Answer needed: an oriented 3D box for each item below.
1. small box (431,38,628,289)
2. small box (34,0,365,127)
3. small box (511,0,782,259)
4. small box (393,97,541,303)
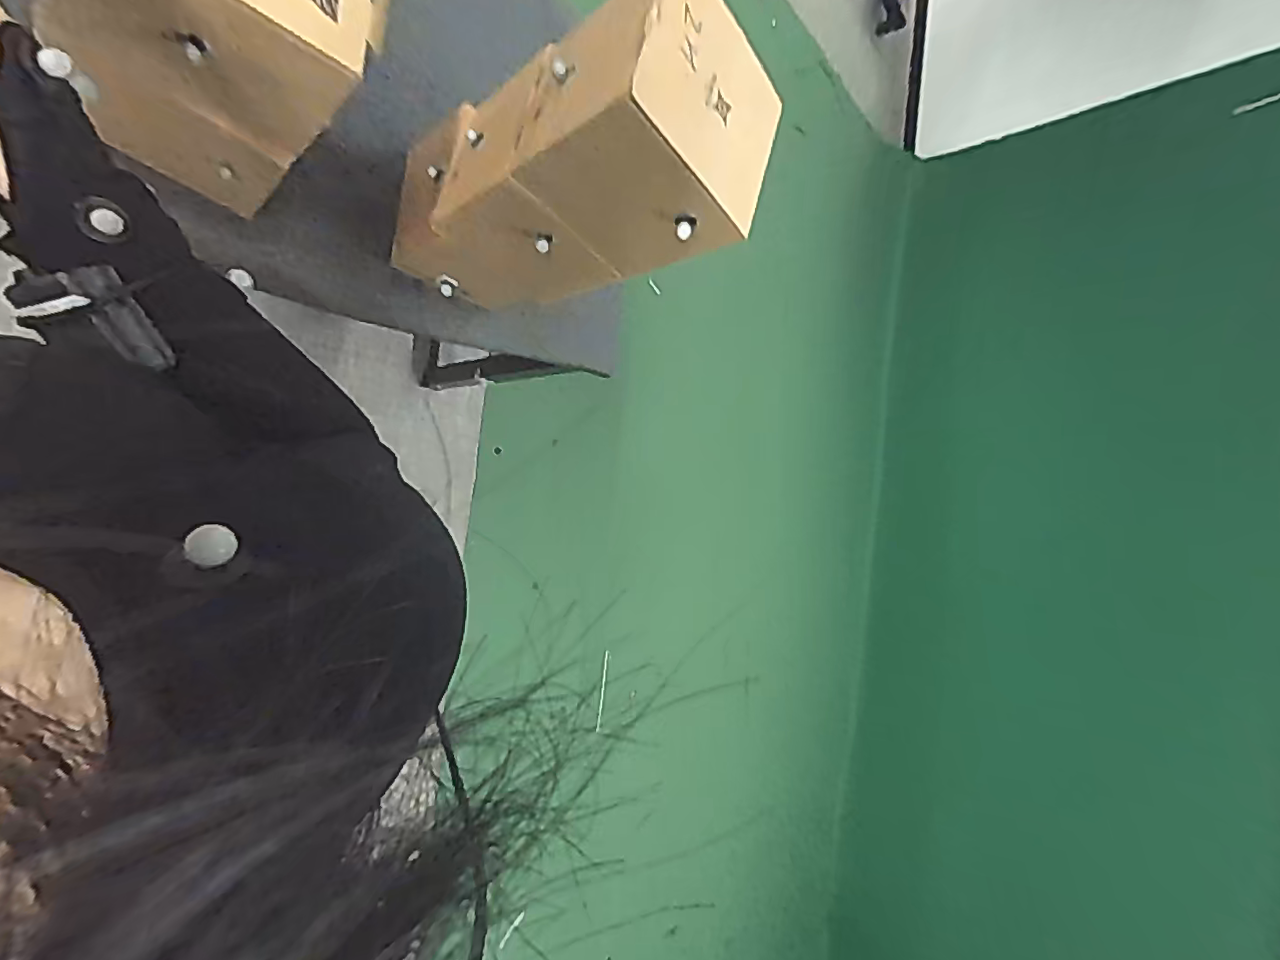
[{"bbox_3d":[-0.111,-0.347,0.640,0.179,0.176,0.168,25,75,-43],"label":"small box"},{"bbox_3d":[-0.326,-0.410,0.411,0.179,0.176,0.168,10,86,-45],"label":"small box"},{"bbox_3d":[0.008,-0.341,0.527,0.179,0.176,0.168,27,73,-42],"label":"small box"},{"bbox_3d":[-0.225,-0.370,0.755,0.168,0.176,0.179,10,86,-45],"label":"small box"}]
